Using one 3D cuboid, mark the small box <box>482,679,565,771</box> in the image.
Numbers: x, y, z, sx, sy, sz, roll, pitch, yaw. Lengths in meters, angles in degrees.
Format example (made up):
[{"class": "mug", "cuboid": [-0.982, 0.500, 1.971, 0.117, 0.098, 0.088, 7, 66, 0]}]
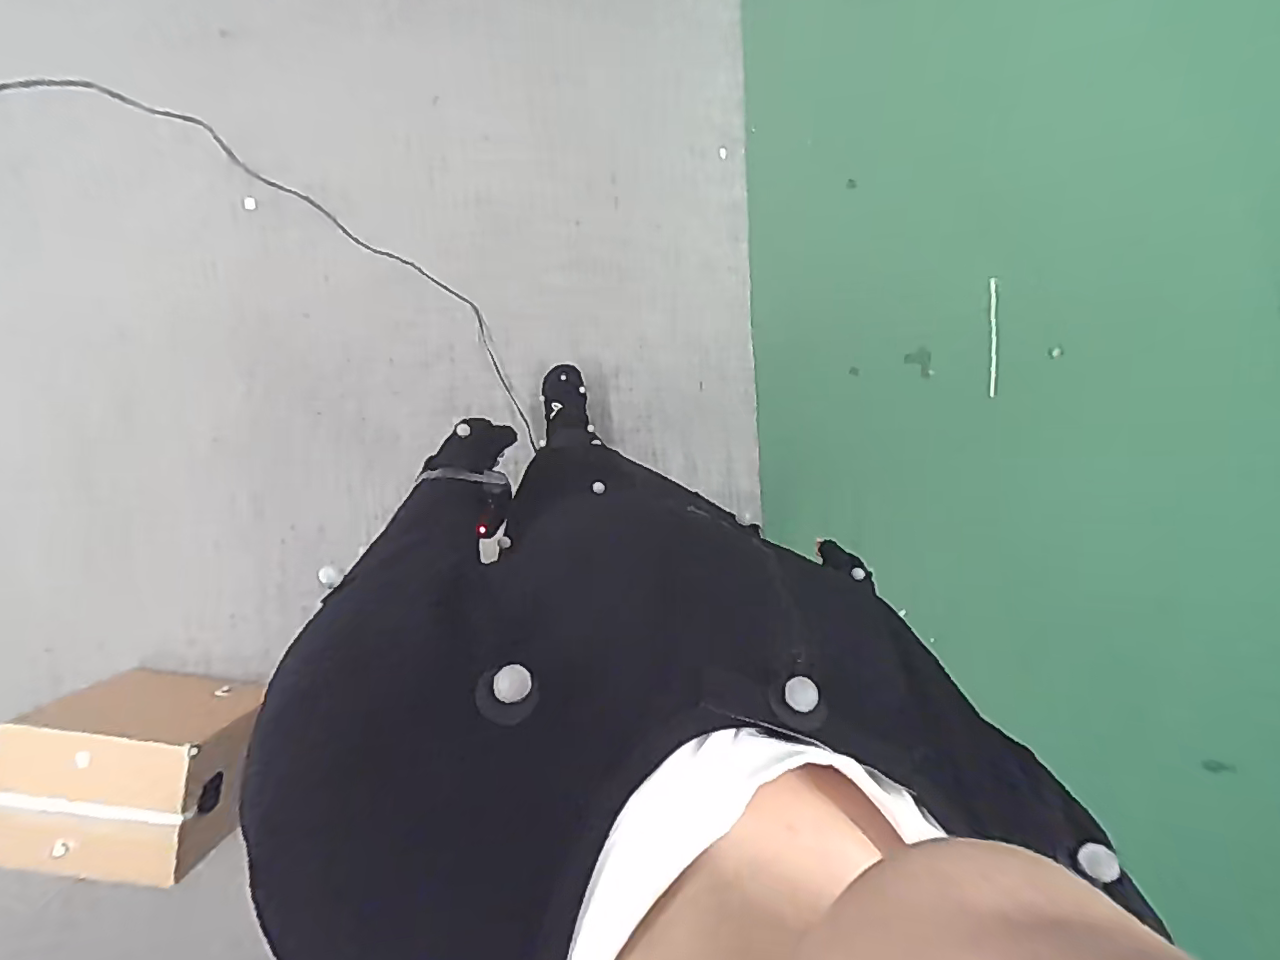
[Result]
[{"class": "small box", "cuboid": [-0.282, 0.610, 1.350, 0.179, 0.176, 0.168, -2, 92, 1]}]
